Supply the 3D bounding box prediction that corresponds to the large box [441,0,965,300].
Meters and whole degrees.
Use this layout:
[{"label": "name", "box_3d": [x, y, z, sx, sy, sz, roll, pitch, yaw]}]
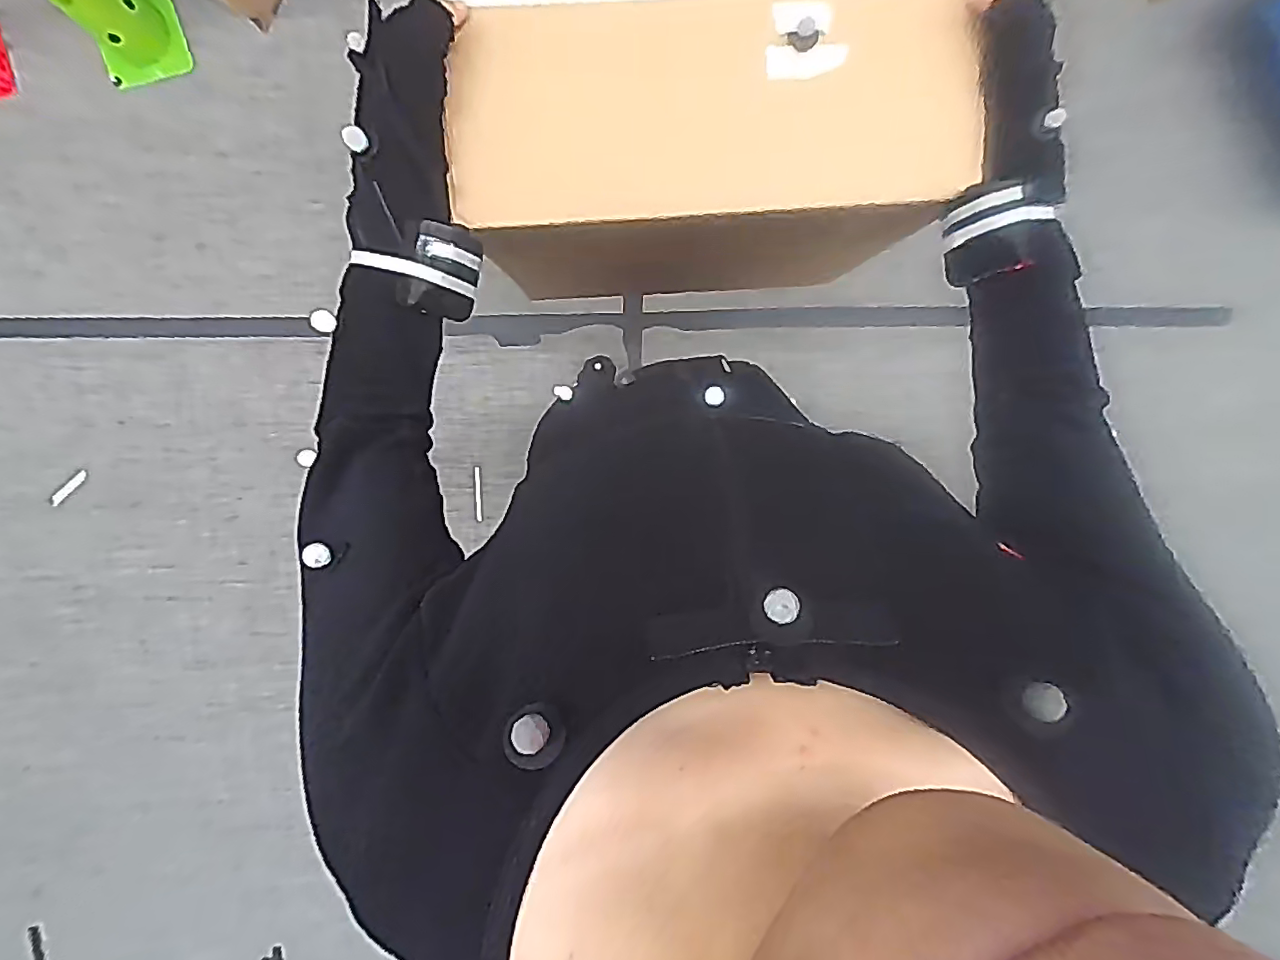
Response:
[{"label": "large box", "box_3d": [0.043, -0.385, 0.554, 0.408, 0.320, 0.320, -4, 98, -1]}]
